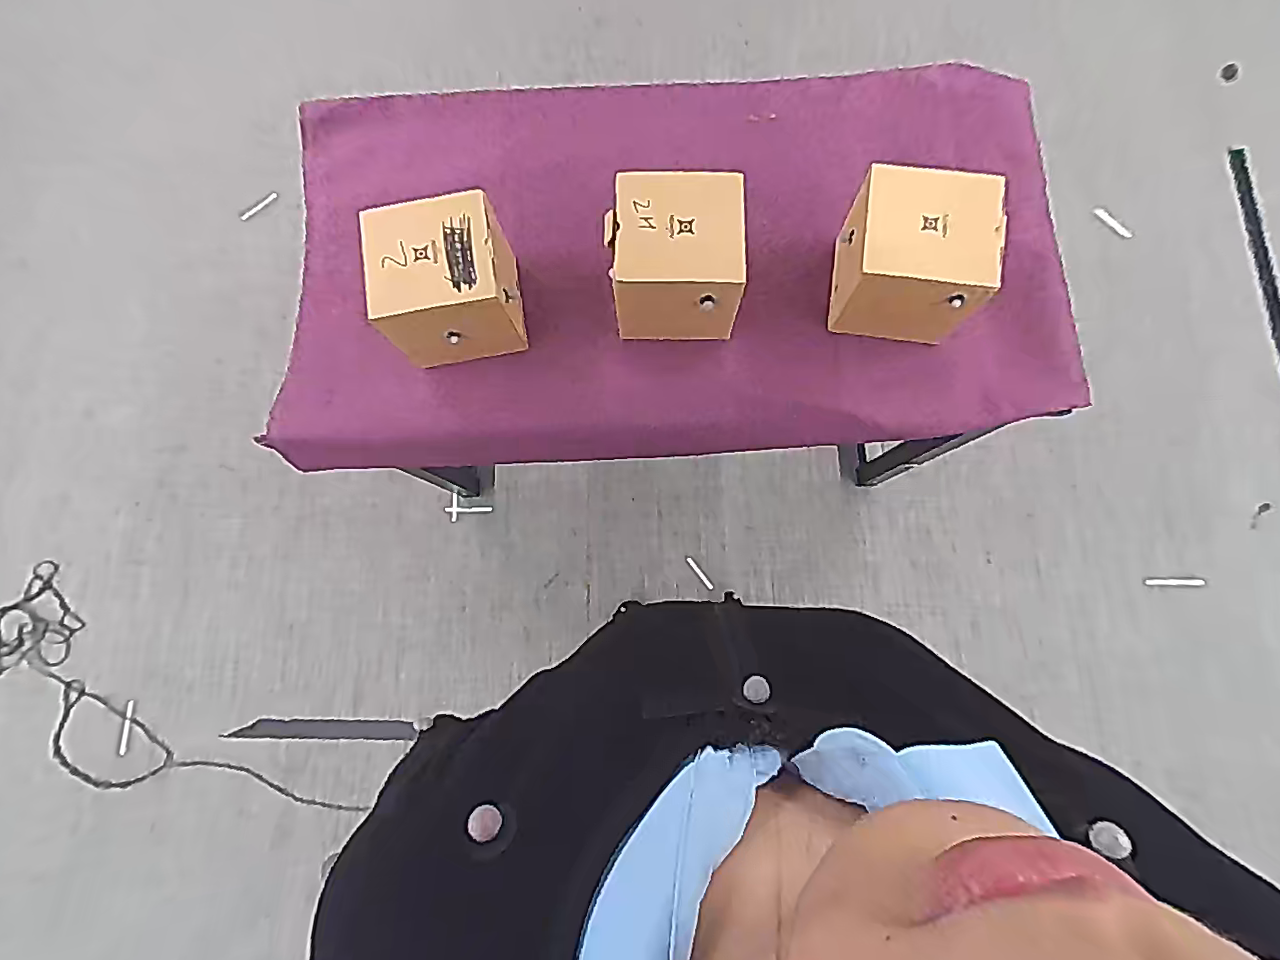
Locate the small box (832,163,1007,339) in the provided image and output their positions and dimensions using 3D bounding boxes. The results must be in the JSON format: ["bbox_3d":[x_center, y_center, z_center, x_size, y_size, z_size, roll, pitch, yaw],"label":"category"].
[{"bbox_3d":[0.390,-0.319,0.781,0.179,0.176,0.168,8,79,4],"label":"small box"}]

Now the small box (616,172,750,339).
[{"bbox_3d":[0.060,-0.319,0.795,0.179,0.176,0.168,1,78,3],"label":"small box"}]
